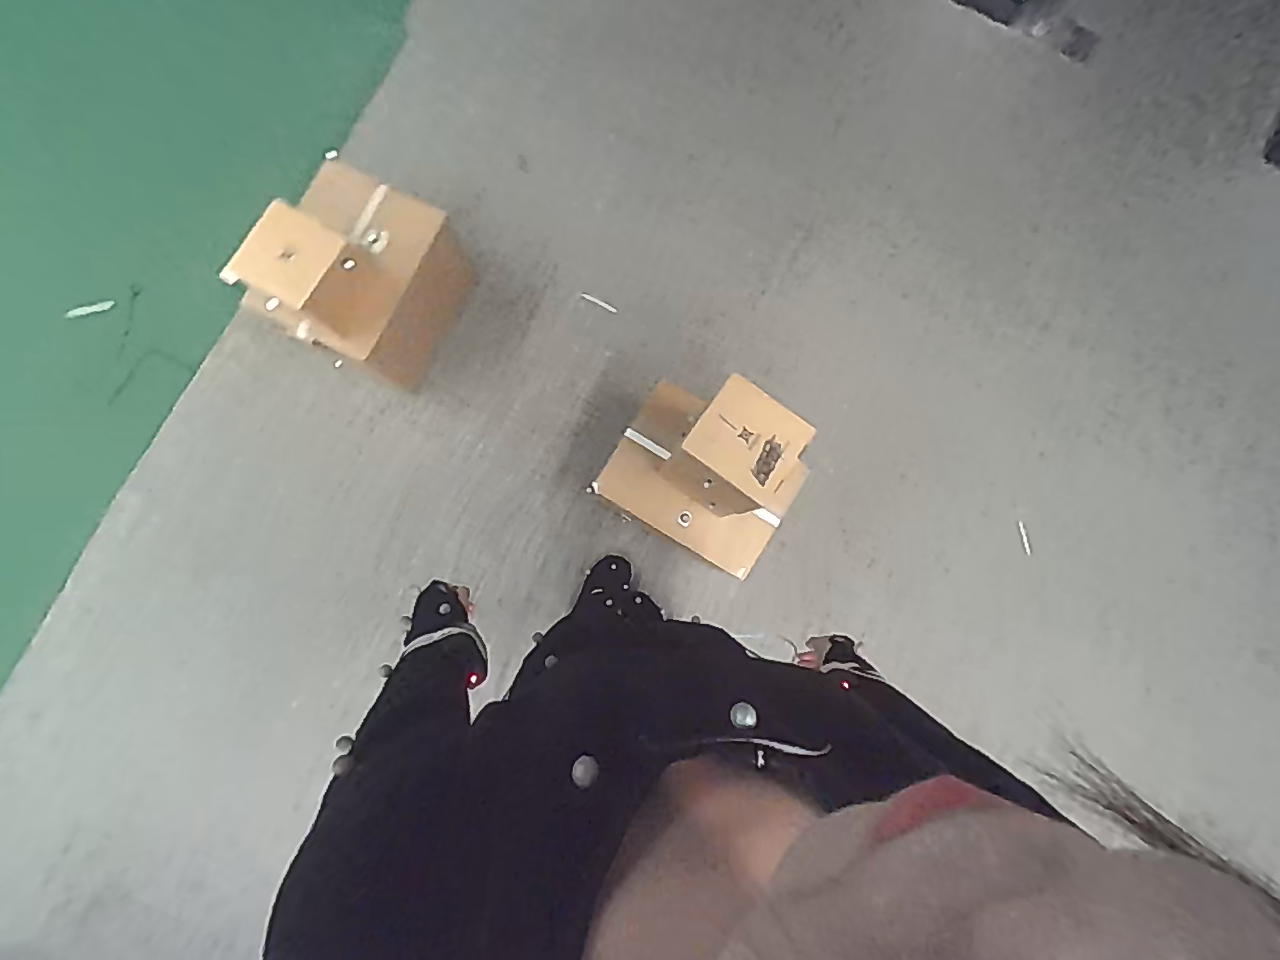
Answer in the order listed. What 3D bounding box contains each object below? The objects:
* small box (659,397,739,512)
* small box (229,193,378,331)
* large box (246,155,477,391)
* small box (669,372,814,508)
[{"bbox_3d":[0.160,-0.045,1.143,0.179,0.176,0.168,36,81,1],"label":"small box"},{"bbox_3d":[-0.687,-0.442,1.130,0.168,0.176,0.179,29,82,-1],"label":"small box"},{"bbox_3d":[-0.676,-0.501,1.383,0.320,0.320,0.408,26,83,0],"label":"large box"},{"bbox_3d":[0.173,-0.061,0.980,0.179,0.176,0.168,37,81,1],"label":"small box"}]
